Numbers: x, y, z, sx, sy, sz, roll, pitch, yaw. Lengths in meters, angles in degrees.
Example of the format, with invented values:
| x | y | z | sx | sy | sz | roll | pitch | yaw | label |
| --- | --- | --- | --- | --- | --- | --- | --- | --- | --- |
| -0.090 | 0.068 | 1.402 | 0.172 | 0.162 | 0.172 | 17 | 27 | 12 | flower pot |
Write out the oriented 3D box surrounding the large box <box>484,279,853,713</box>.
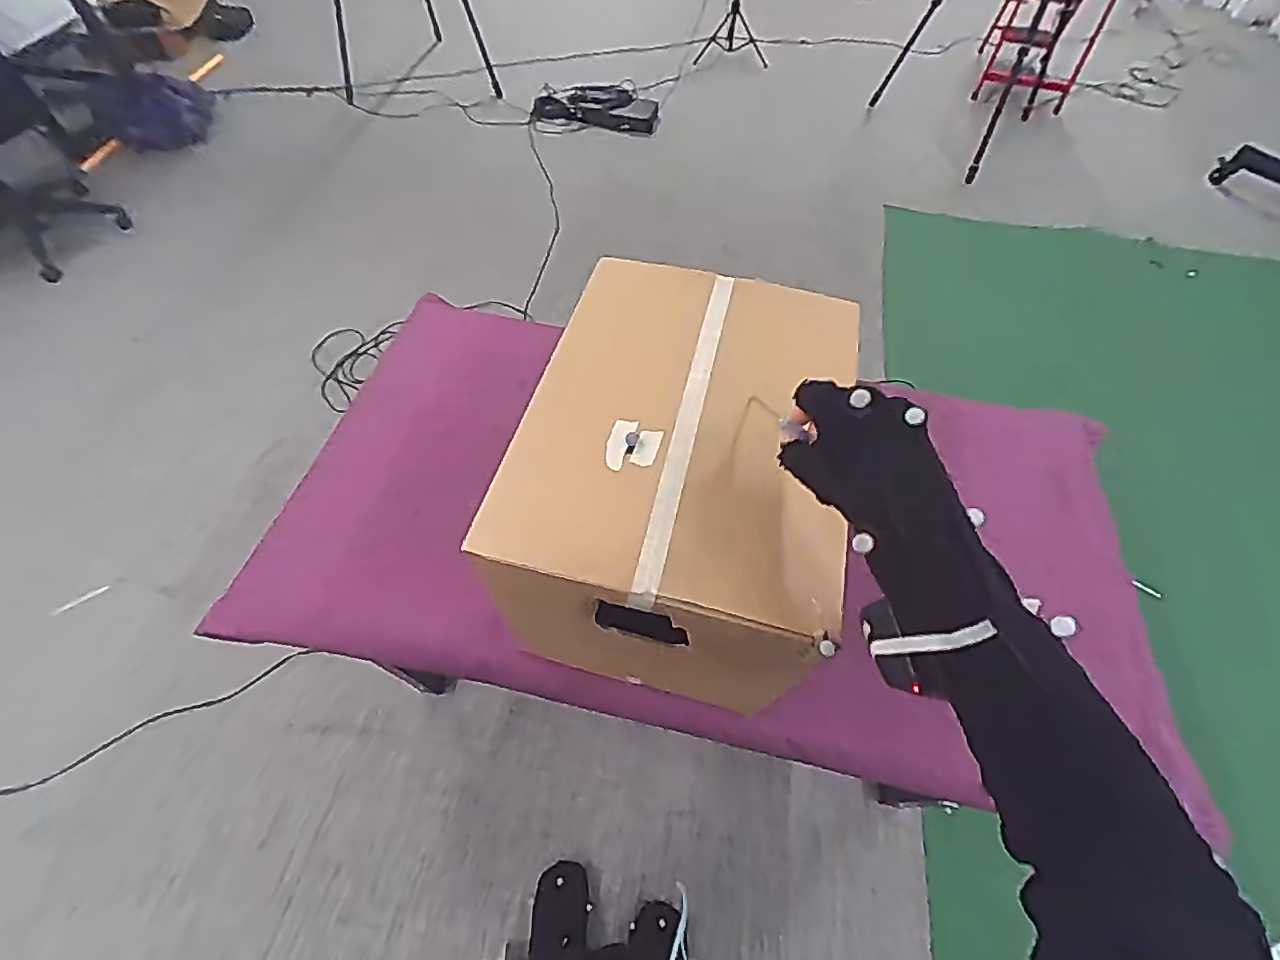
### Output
| x | y | z | sx | sy | sz | roll | pitch | yaw | label |
| --- | --- | --- | --- | --- | --- | --- | --- | --- | --- |
| 0.051 | 0.024 | 0.679 | 0.320 | 0.320 | 0.408 | 13 | 58 | 7 | large box |
